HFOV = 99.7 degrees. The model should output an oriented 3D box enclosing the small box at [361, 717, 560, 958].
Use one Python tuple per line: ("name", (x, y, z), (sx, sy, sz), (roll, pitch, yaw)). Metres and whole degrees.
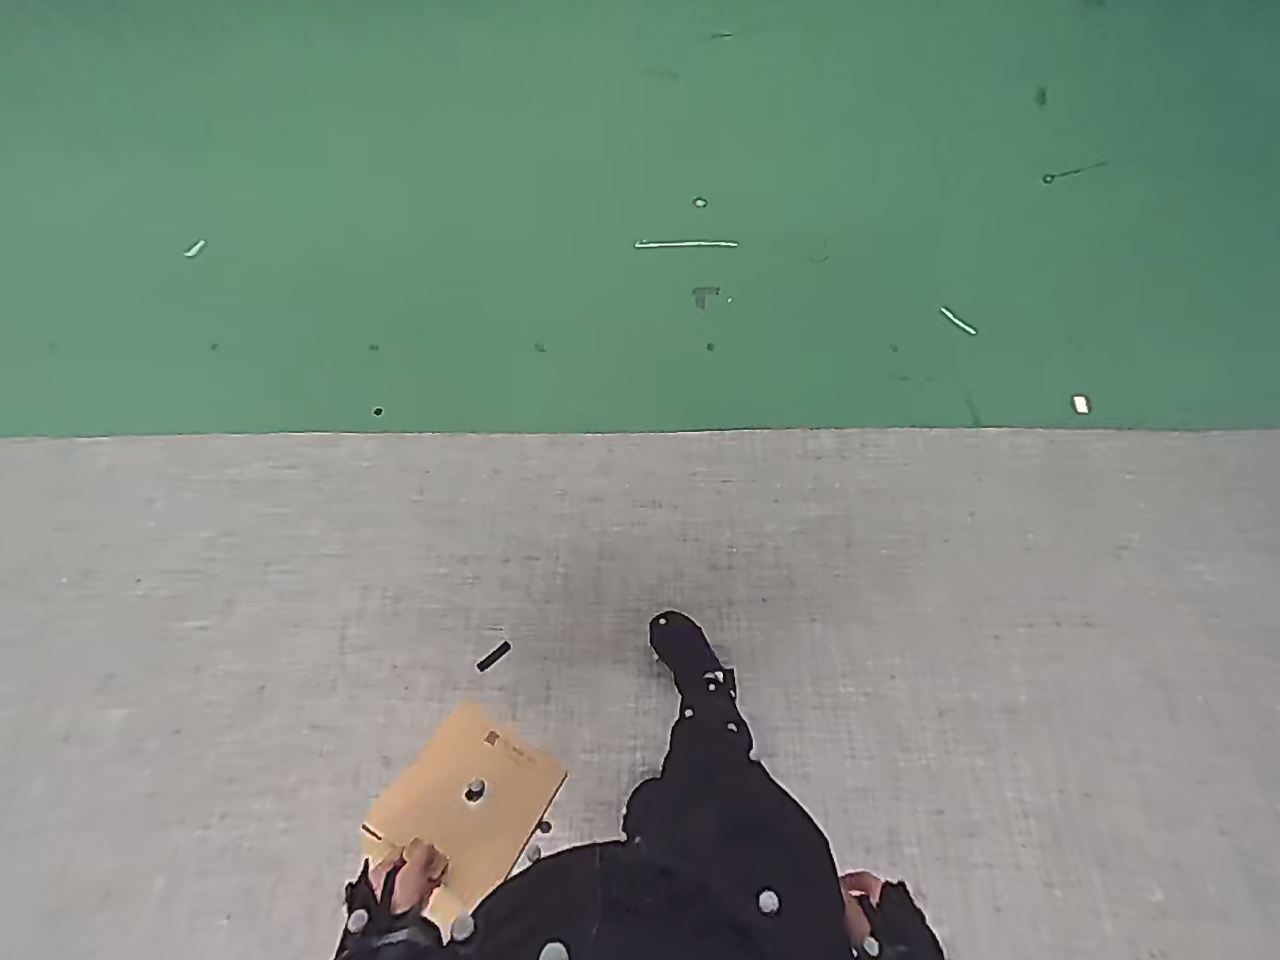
("small box", (-0.220, 0.439, 0.680), (0.168, 0.179, 0.176), (29, 36, 9))
